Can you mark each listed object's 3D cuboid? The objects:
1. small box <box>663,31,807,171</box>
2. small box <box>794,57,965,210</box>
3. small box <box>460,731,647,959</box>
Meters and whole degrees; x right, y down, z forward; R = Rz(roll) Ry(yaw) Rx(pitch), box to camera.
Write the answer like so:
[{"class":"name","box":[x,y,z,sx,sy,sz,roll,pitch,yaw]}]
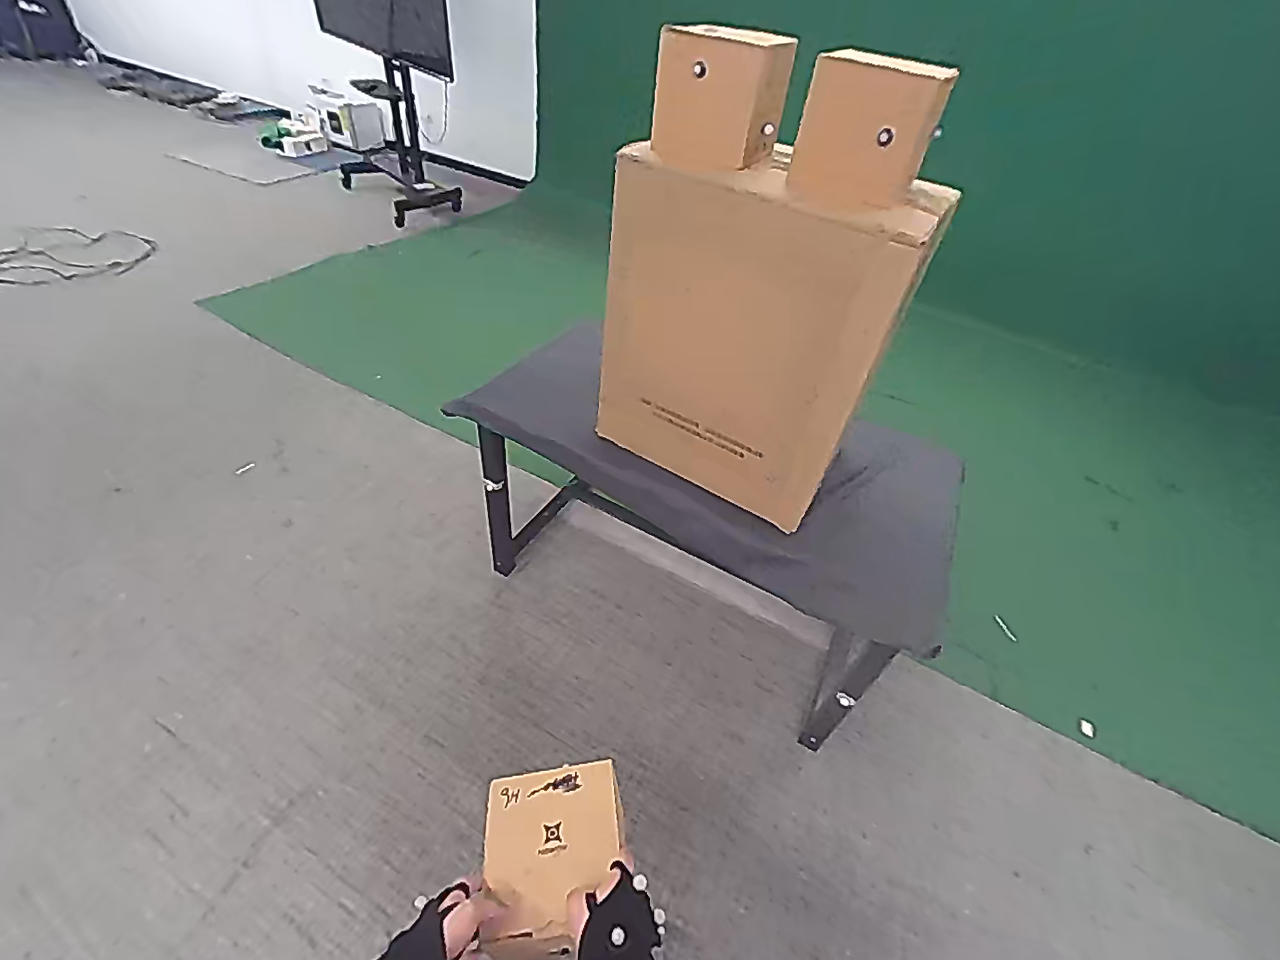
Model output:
[{"class":"small box","box":[0.154,-0.650,0.929,0.179,0.176,0.168,28,50,21]},{"class":"small box","box":[0.371,-0.545,0.854,0.179,0.176,0.168,27,47,20]},{"class":"small box","box":[-0.107,0.489,0.722,0.179,0.176,0.168,-29,42,-27]}]
